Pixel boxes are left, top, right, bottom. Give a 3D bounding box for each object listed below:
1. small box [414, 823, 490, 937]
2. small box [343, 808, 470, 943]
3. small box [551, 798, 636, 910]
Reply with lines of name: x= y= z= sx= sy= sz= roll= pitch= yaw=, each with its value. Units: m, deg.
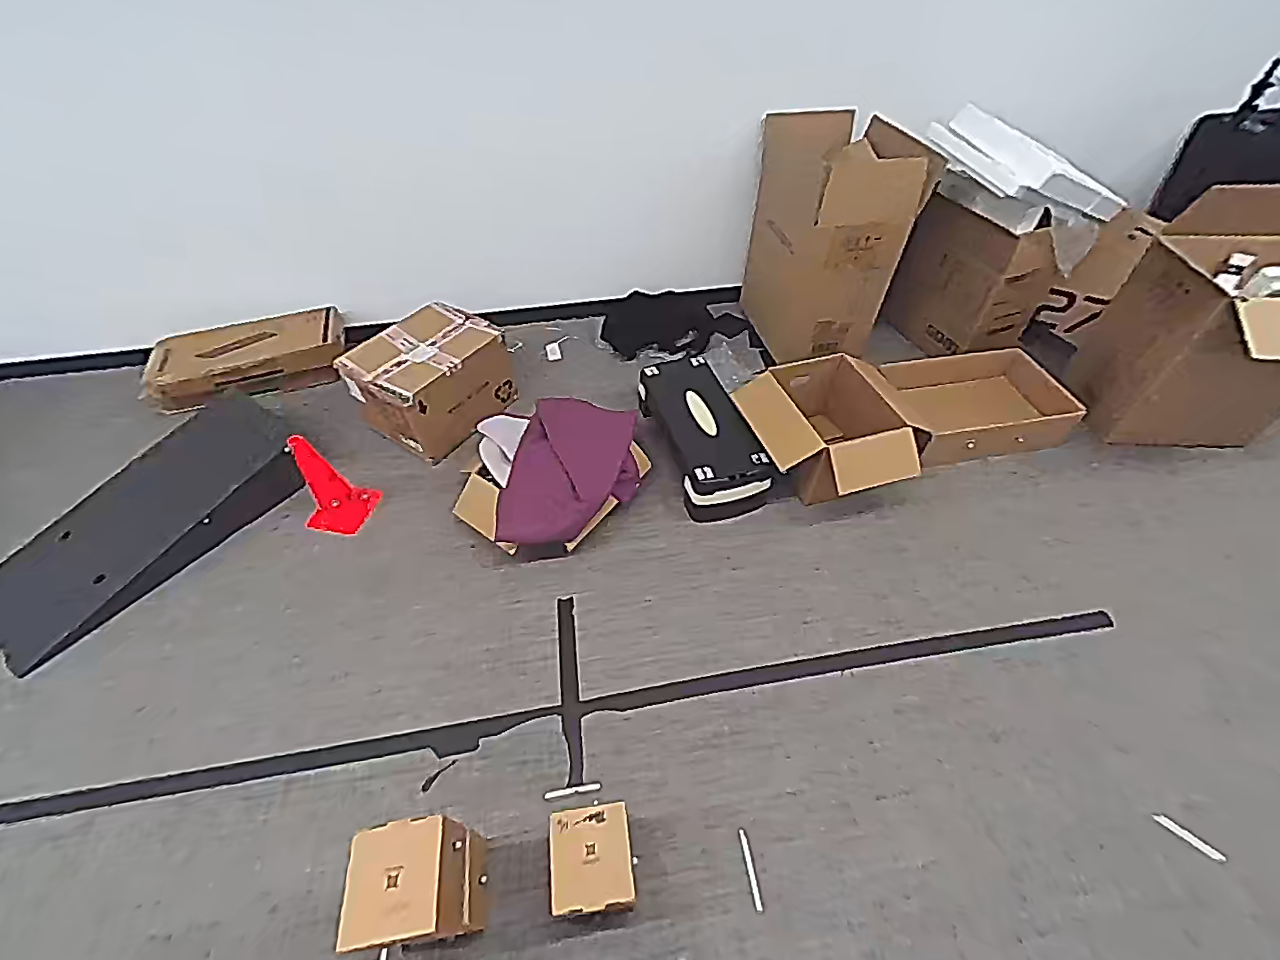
small box: x=-0.423 y=0.853 z=1.152 sx=0.179 sy=0.176 sz=0.168 roll=-9 pitch=49 yaw=-6
small box: x=-0.429 y=0.751 z=1.026 sx=0.168 sy=0.176 sz=0.179 roll=-9 pitch=51 yaw=-4
small box: x=-0.099 y=0.816 z=1.178 sx=0.168 sy=0.176 sz=0.179 roll=-6 pitch=50 yaw=-4
